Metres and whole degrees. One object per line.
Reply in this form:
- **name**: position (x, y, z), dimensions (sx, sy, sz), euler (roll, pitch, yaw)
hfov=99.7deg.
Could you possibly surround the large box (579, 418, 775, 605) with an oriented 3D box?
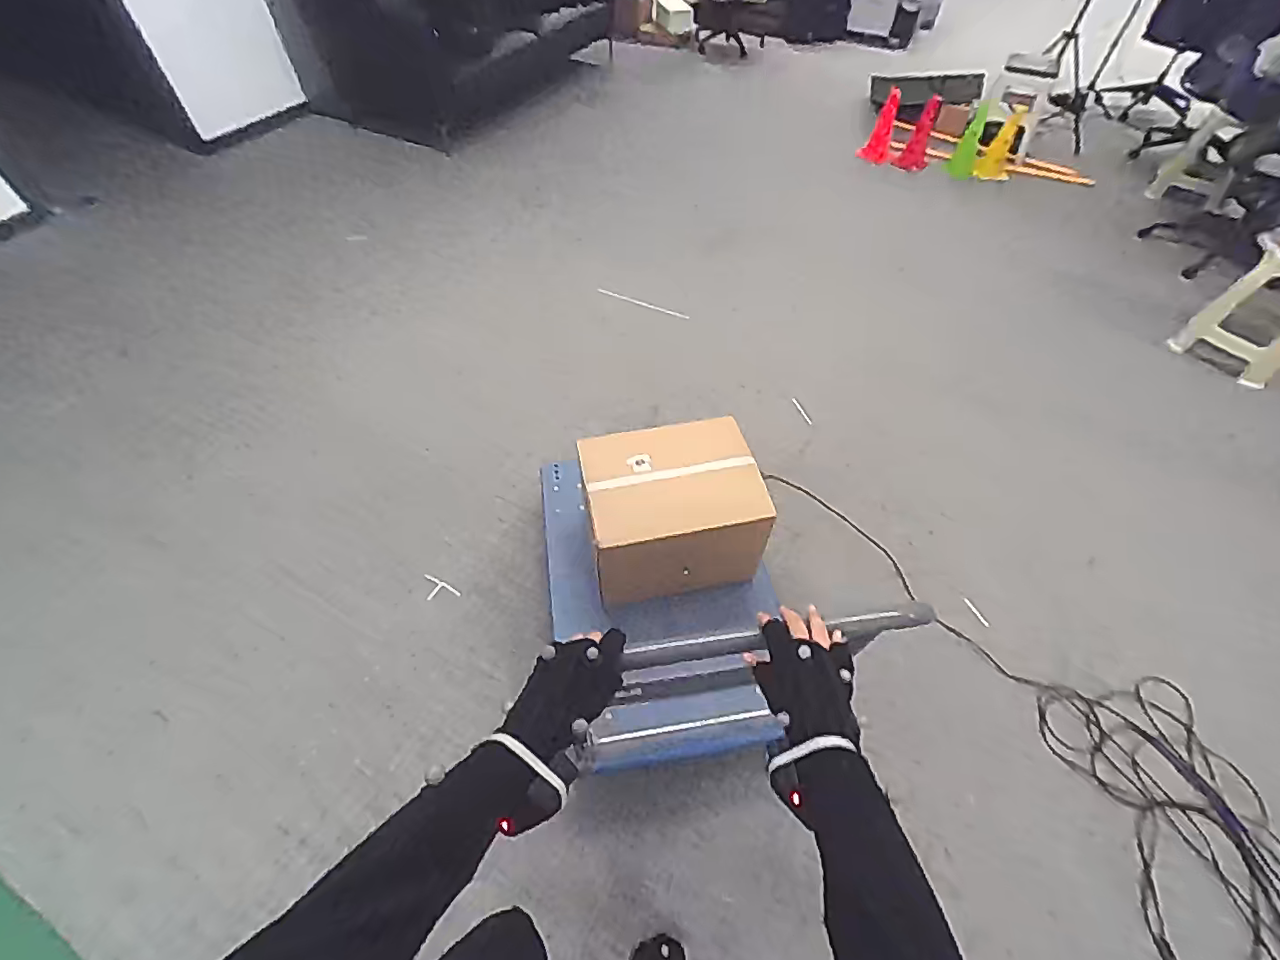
- **large box**: position (0.078, 0.084, 1.378), dimensions (0.408, 0.320, 0.320), euler (-10, 53, -8)
